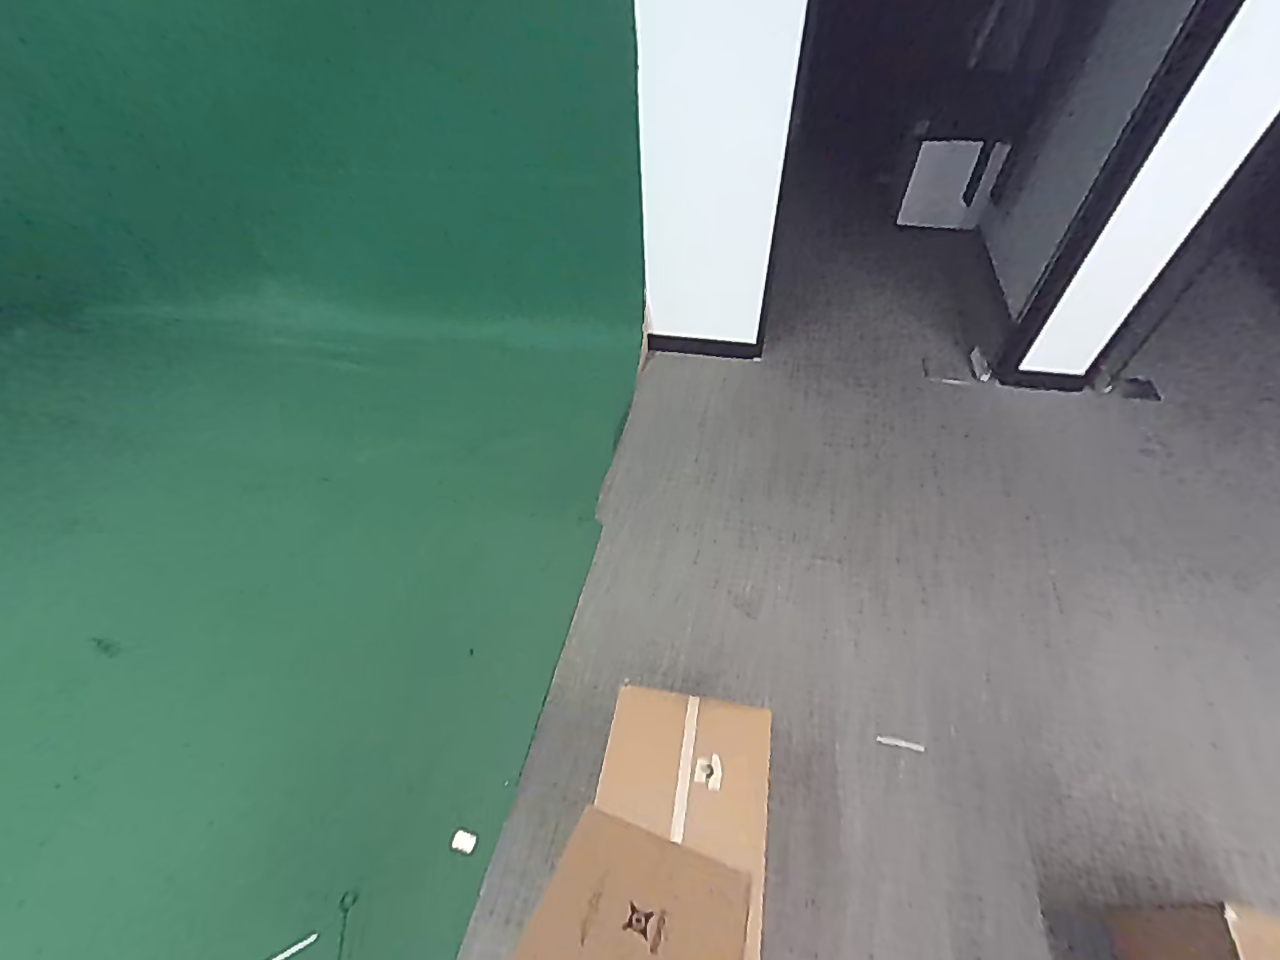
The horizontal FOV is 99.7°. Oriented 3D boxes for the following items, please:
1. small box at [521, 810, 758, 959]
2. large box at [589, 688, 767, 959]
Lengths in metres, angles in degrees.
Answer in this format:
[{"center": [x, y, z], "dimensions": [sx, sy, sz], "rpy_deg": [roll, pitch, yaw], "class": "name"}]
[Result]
[{"center": [-0.006, 0.459, 0.491], "dimensions": [0.179, 0.176, 0.168], "rpy_deg": [15, 18, 14], "class": "small box"}, {"center": [0.076, 0.696, 1.088], "dimensions": [0.320, 0.320, 0.408], "rpy_deg": [7, 50, 9], "class": "large box"}]
